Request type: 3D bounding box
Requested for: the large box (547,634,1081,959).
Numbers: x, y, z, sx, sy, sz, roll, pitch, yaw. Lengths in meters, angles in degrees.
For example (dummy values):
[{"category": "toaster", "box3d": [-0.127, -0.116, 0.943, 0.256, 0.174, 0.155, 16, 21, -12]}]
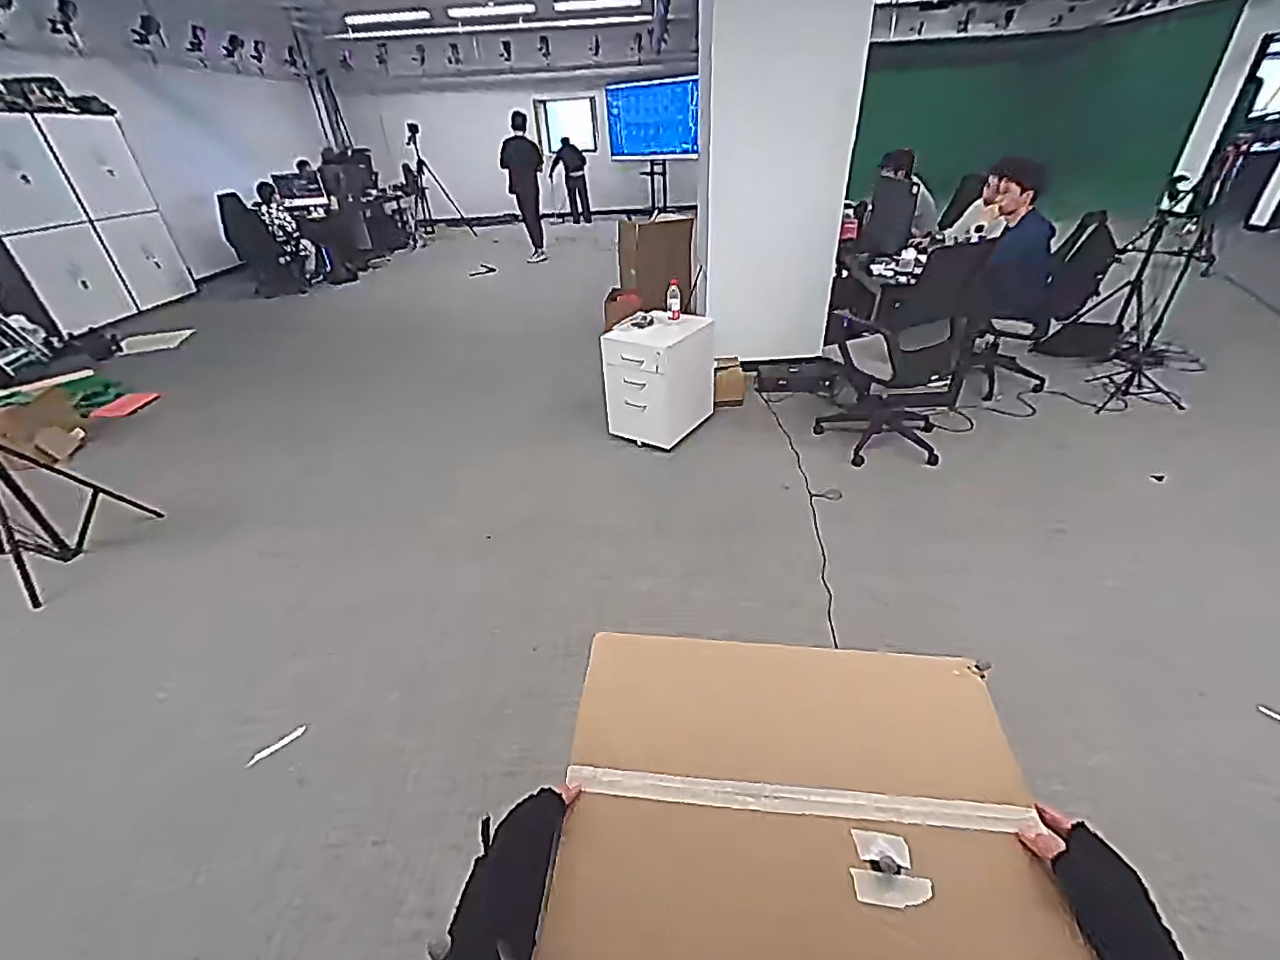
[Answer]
[{"category": "large box", "box3d": [0.142, 0.397, 0.586, 0.408, 0.320, 0.320, 3, 41, 6]}]
